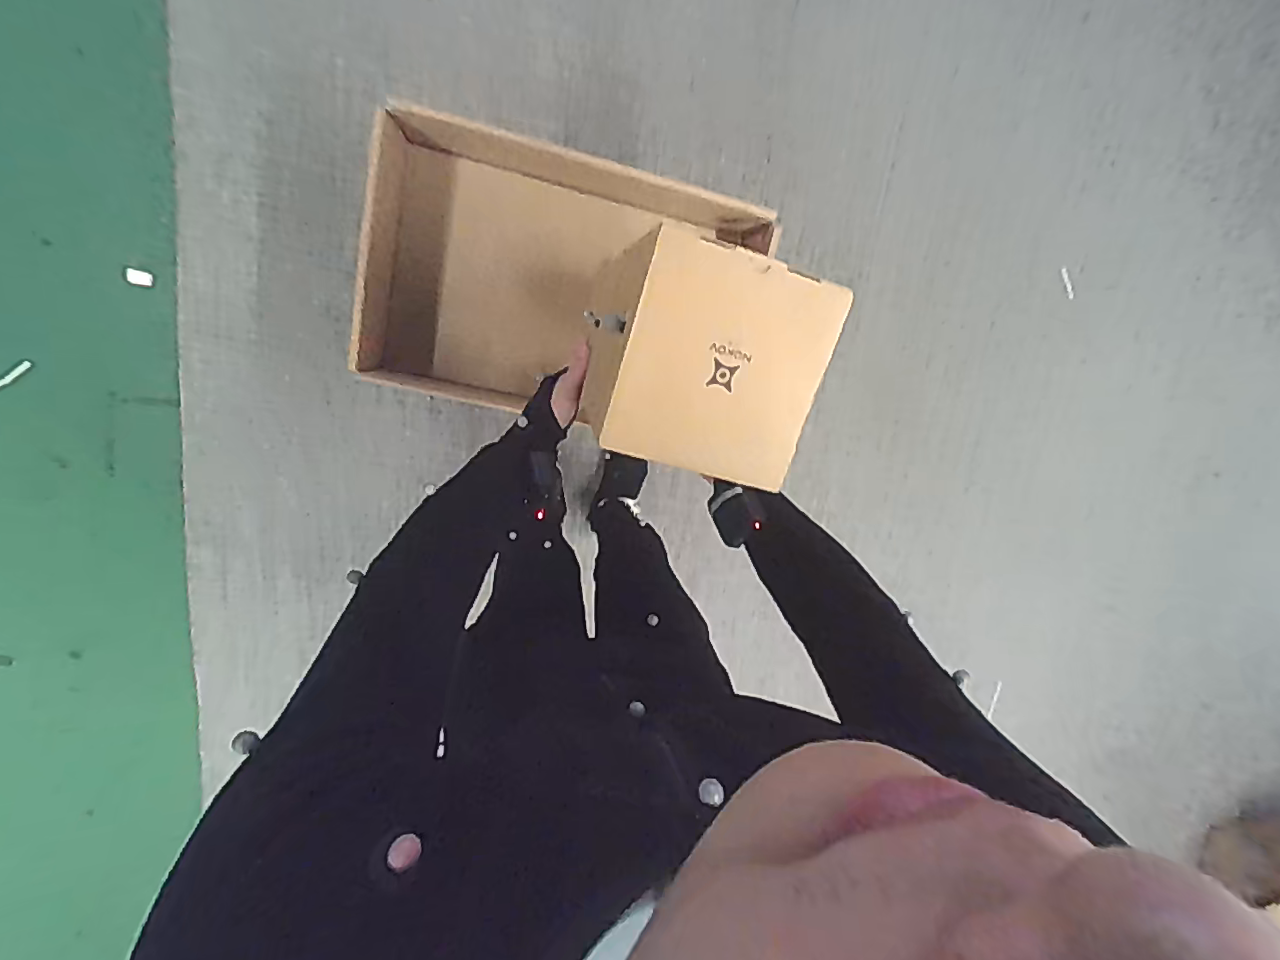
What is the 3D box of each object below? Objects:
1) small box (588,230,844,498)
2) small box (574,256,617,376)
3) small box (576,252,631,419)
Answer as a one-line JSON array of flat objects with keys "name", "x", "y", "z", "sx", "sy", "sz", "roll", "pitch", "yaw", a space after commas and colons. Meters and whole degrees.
[{"name": "small box", "x": 0.051, "y": -0.105, "z": 0.504, "sx": 0.168, "sy": 0.176, "sz": 0.179, "roll": 13, "pitch": 103, "yaw": -12}, {"name": "small box", "x": 0.000, "y": -0.214, "z": 0.808, "sx": 0.168, "sy": 0.176, "sz": 0.179, "roll": 13, "pitch": 105, "yaw": -13}, {"name": "small box", "x": 0.022, "y": -0.154, "z": 0.657, "sx": 0.168, "sy": 0.176, "sz": 0.179, "roll": 13, "pitch": 104, "yaw": -13}]
